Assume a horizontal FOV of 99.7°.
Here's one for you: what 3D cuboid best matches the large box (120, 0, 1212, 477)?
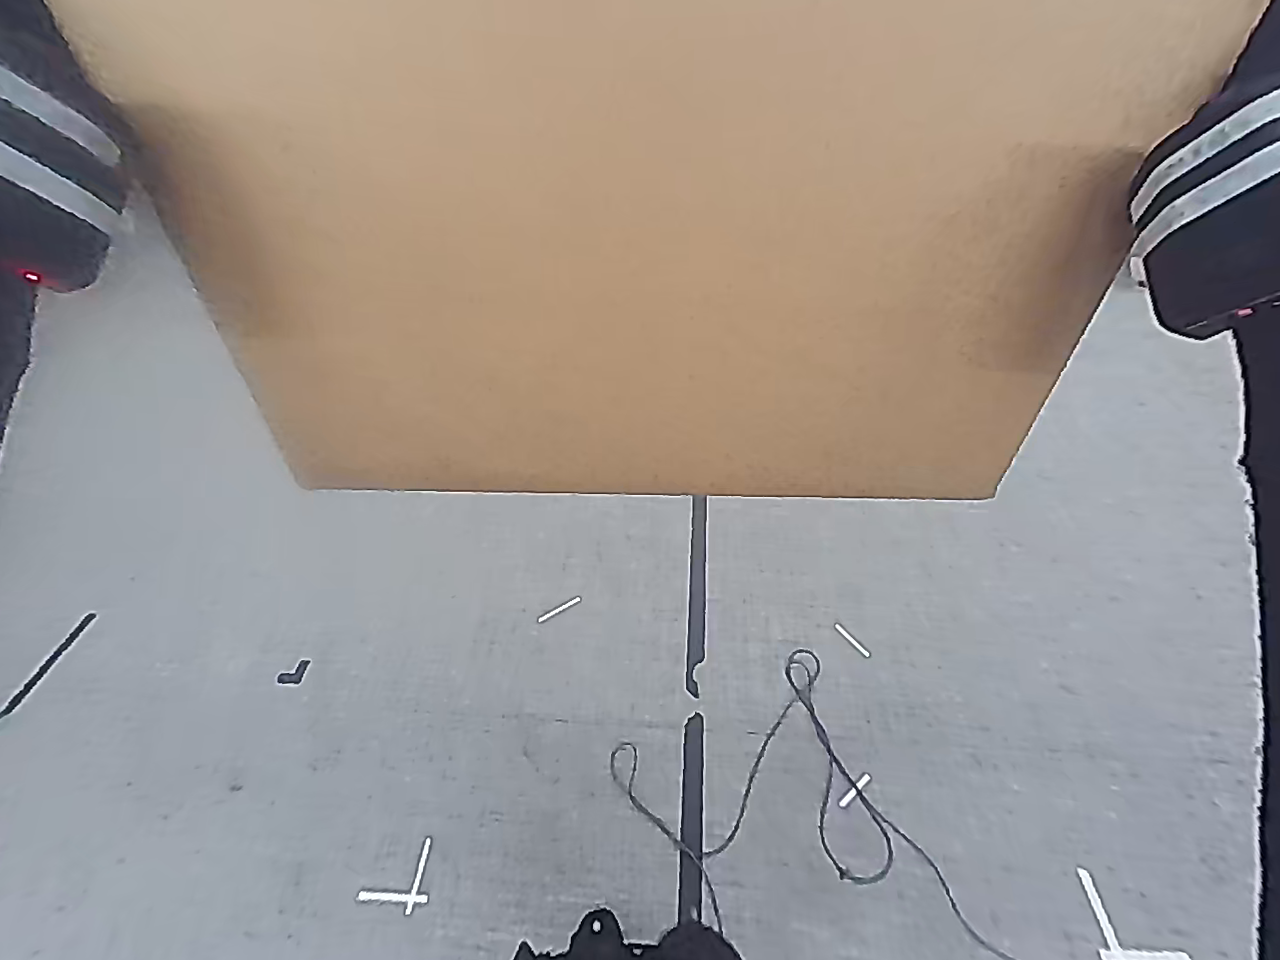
[{"bbox_3d":[0.007,-0.212,0.349,0.408,0.320,0.320,1,40,-1],"label":"large box"}]
